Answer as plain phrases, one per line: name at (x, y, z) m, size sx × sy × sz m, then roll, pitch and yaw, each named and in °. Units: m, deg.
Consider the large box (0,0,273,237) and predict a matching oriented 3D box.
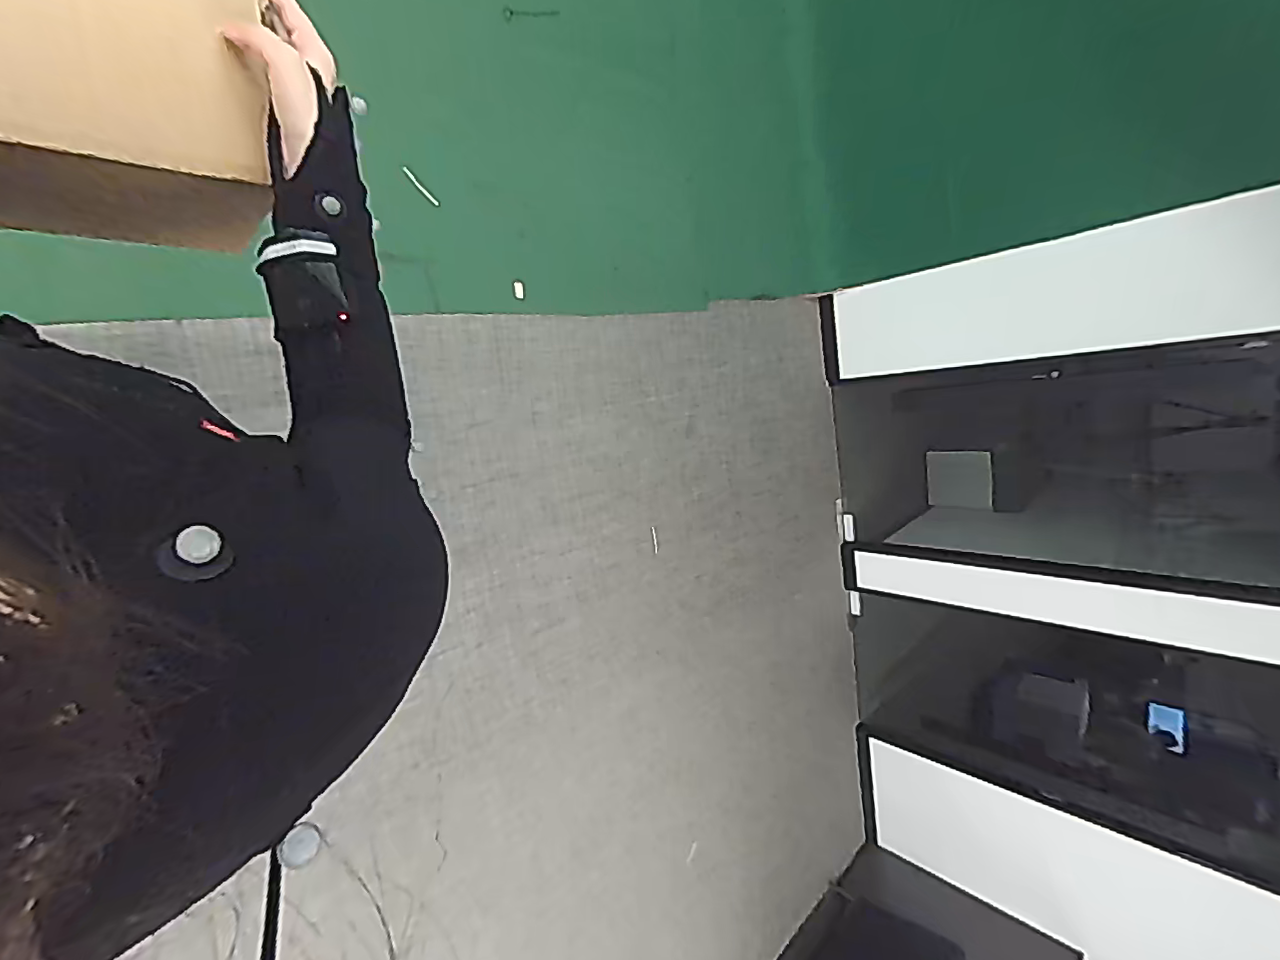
large box at (-0.541, -0.379, 0.386) m, size 0.408 × 0.320 × 0.320 m, roll -11°, pitch 106°, yaw -39°
